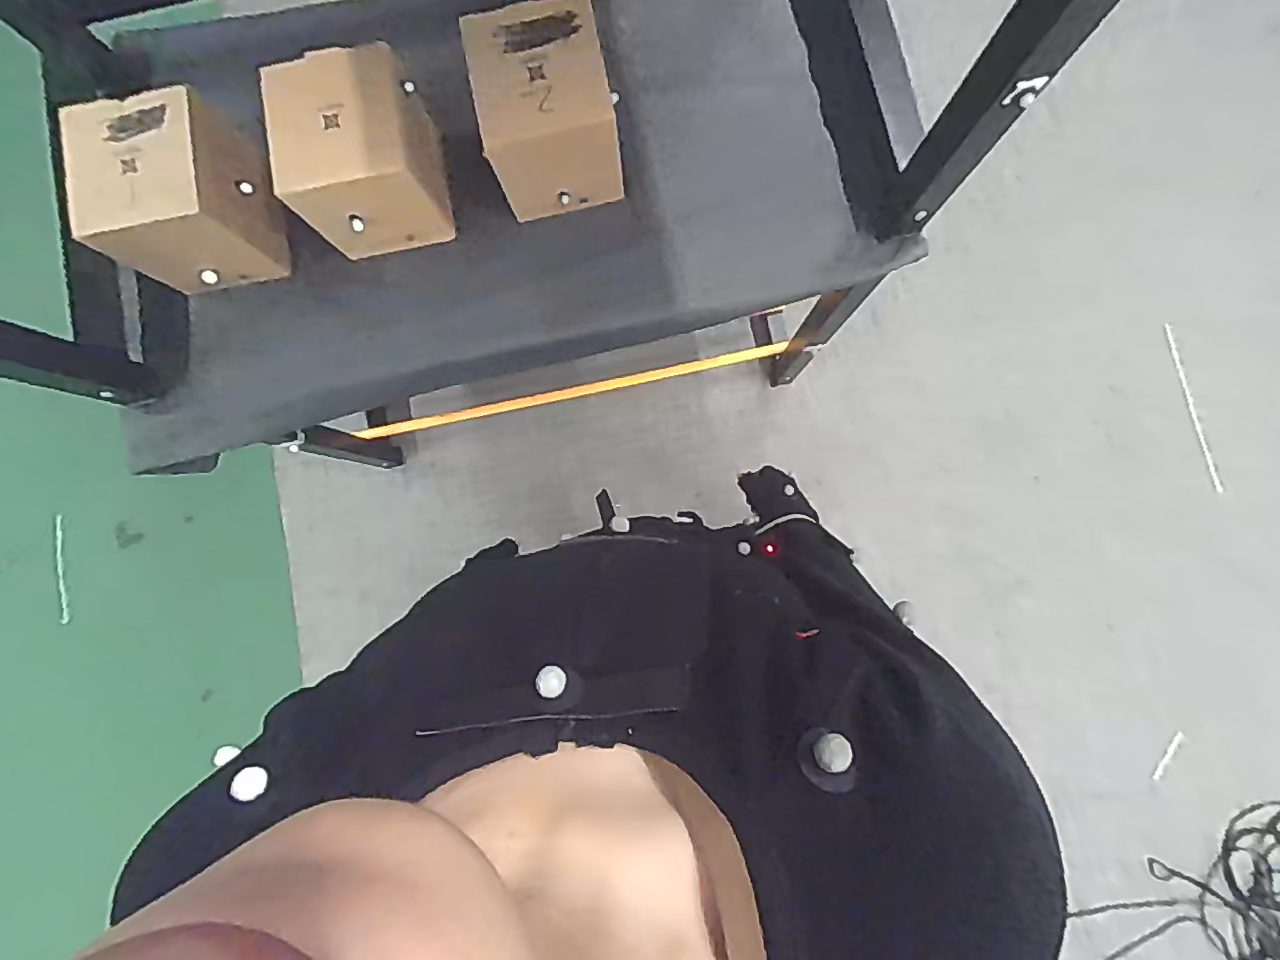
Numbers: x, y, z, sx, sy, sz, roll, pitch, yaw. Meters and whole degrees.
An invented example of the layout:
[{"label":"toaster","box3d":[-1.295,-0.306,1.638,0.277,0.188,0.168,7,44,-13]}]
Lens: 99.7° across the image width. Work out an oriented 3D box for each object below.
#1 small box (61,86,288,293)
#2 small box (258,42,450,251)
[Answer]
[{"label":"small box","box3d":[-0.626,-0.387,0.747,0.168,0.176,0.179,-11,85,1]},{"label":"small box","box3d":[-0.378,-0.438,0.745,0.168,0.176,0.179,-11,84,1]}]
